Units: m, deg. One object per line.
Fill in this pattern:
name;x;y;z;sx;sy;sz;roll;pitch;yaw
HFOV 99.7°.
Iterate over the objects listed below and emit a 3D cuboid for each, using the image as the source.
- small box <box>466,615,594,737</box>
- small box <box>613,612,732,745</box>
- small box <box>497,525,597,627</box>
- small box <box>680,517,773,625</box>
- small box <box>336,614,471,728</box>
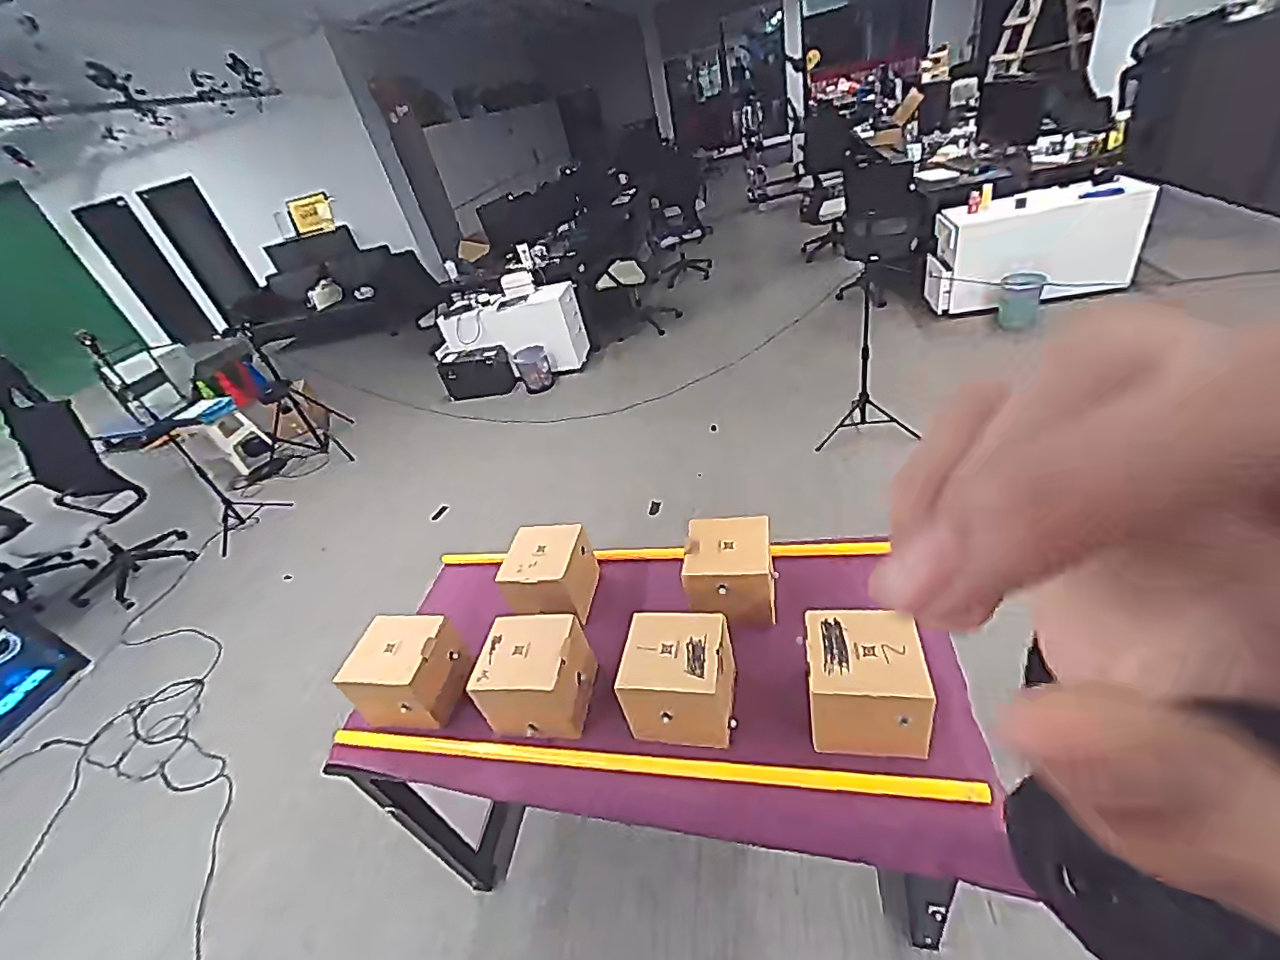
small box;-0.204;0.387;1.068;0.179;0.176;0.168;-5;36;14
small box;0.071;0.364;0.994;0.179;0.176;0.168;-4;35;18
small box;-0.211;0.228;1.288;0.168;0.176;0.179;-4;38;16
small box;0.196;0.200;1.174;0.179;0.176;0.168;-5;37;16
small box;-0.488;0.405;1.148;0.179;0.176;0.168;-3;36;14
